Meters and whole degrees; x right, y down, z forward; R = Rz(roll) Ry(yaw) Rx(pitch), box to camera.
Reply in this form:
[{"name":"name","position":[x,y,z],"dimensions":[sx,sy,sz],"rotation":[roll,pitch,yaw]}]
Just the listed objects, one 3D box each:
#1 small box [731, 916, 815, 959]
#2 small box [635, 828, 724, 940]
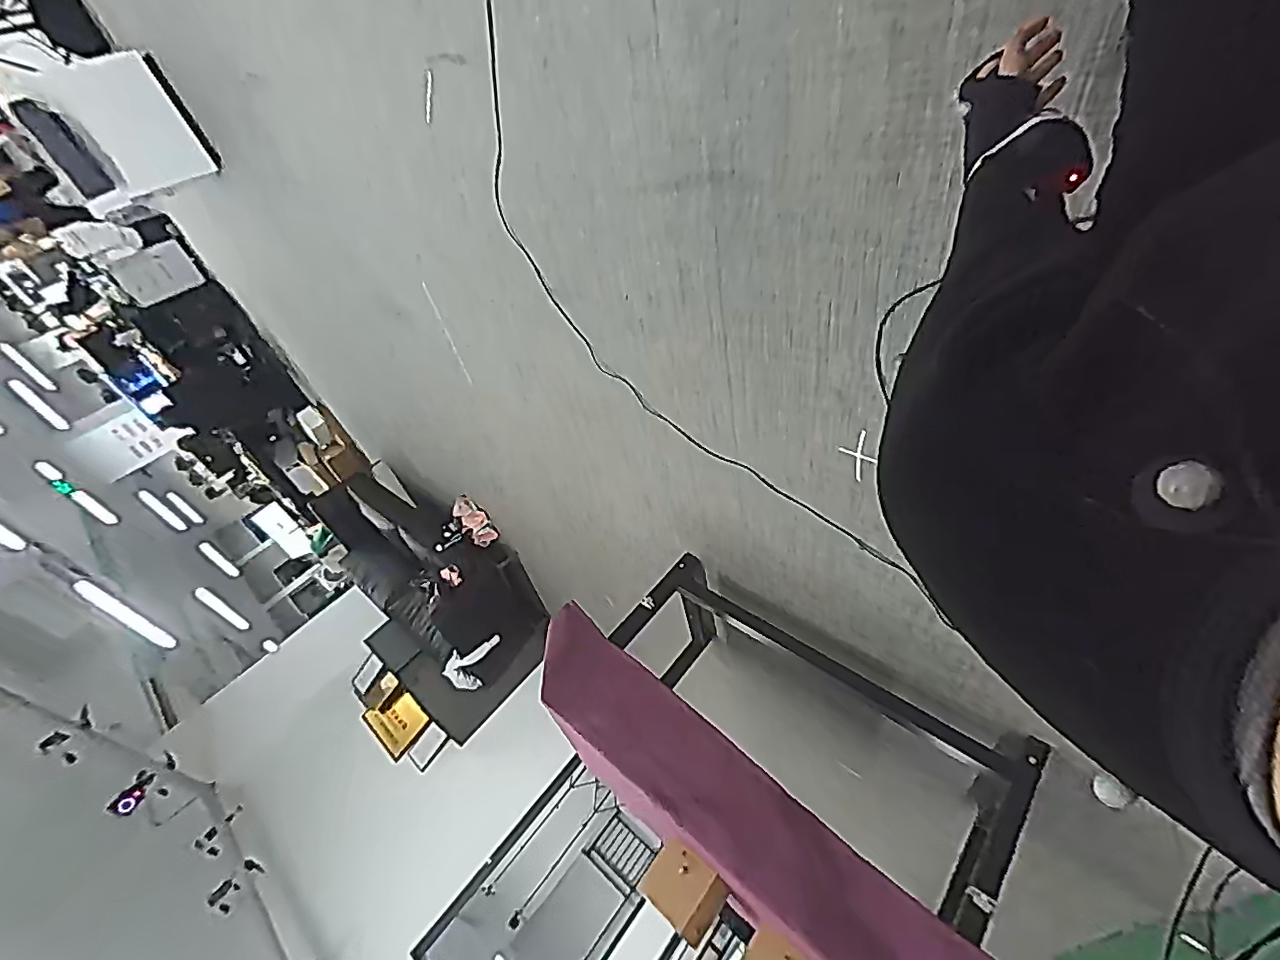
[{"name":"small box","position":[0.337,1.242,1.357],"dimensions":[0.179,0.176,0.168],"rotation":[24,145,37]},{"name":"small box","position":[0.119,1.144,1.538],"dimensions":[0.168,0.176,0.179],"rotation":[19,141,41]}]
